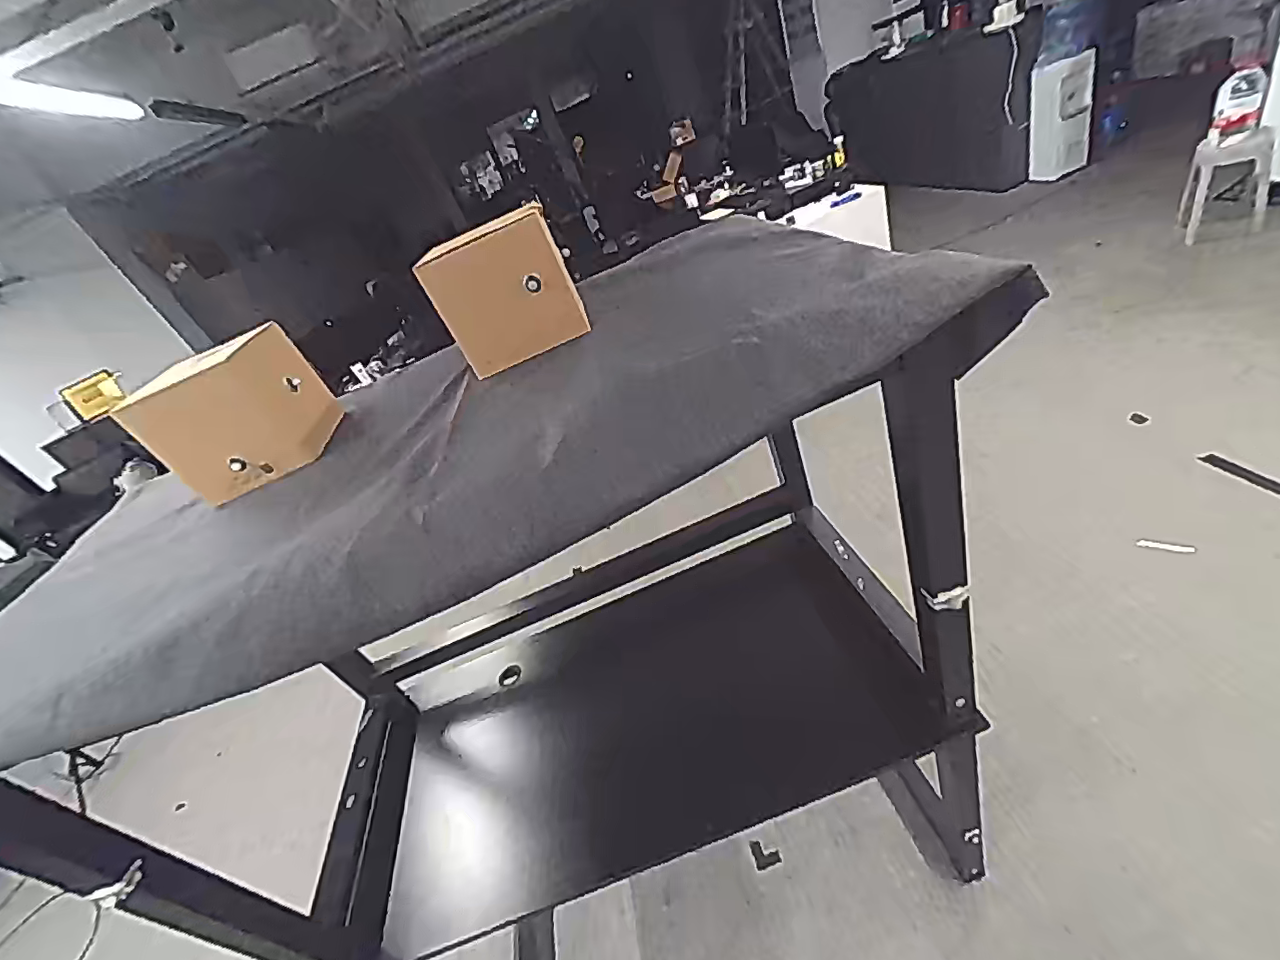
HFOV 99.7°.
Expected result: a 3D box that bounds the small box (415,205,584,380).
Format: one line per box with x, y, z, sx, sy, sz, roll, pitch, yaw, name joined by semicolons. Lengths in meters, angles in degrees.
-0.189;-0.272;0.784;0.179;0.176;0.168;-23;32;3;small box
